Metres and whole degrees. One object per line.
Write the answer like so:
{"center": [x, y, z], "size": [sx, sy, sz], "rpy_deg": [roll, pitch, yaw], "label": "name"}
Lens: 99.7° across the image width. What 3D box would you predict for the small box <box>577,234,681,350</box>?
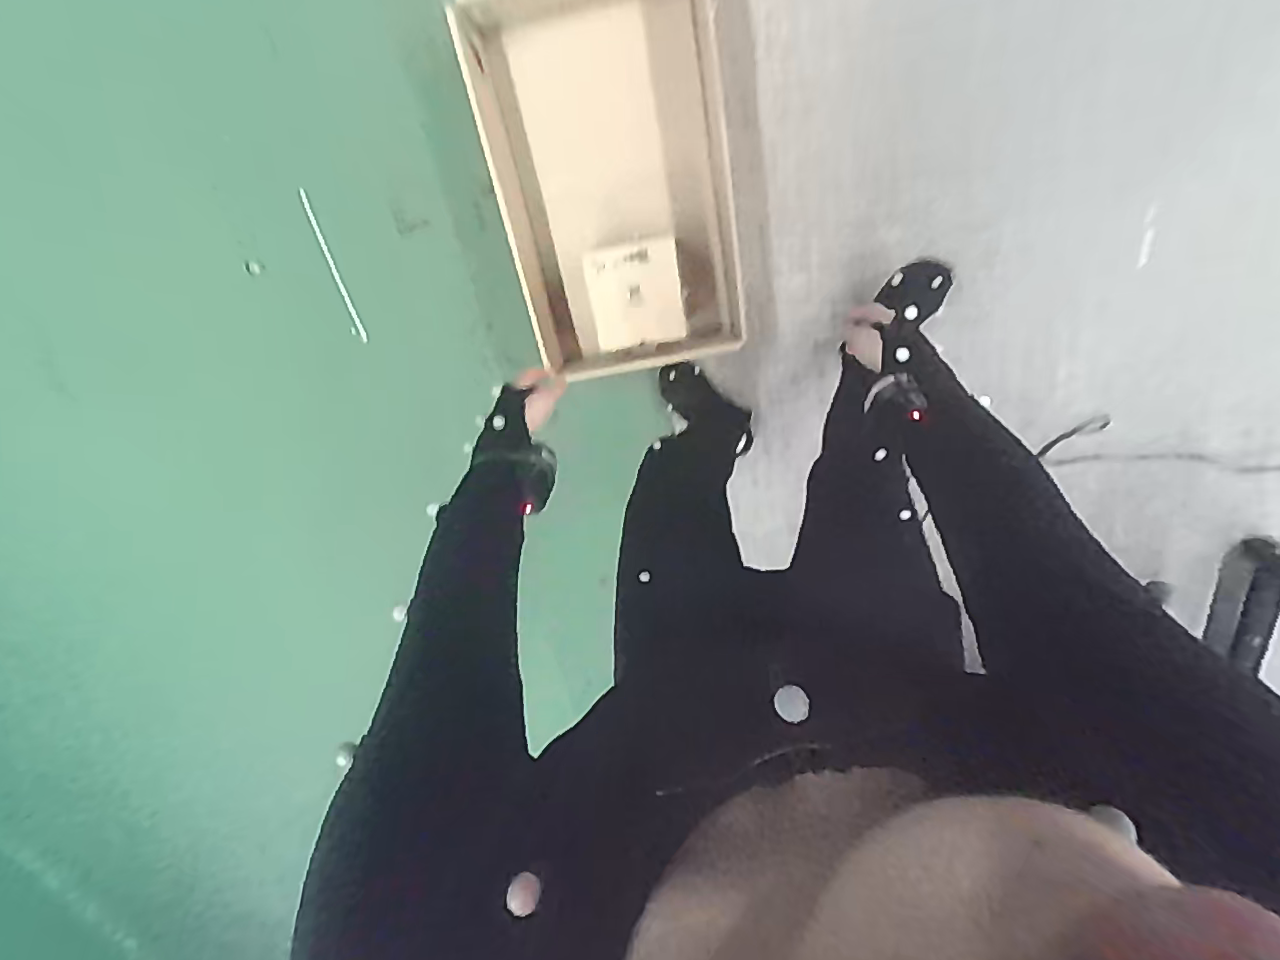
{"center": [-0.013, -0.363, 1.035], "size": [0.168, 0.176, 0.179], "rpy_deg": [-8, 115, 5], "label": "small box"}
